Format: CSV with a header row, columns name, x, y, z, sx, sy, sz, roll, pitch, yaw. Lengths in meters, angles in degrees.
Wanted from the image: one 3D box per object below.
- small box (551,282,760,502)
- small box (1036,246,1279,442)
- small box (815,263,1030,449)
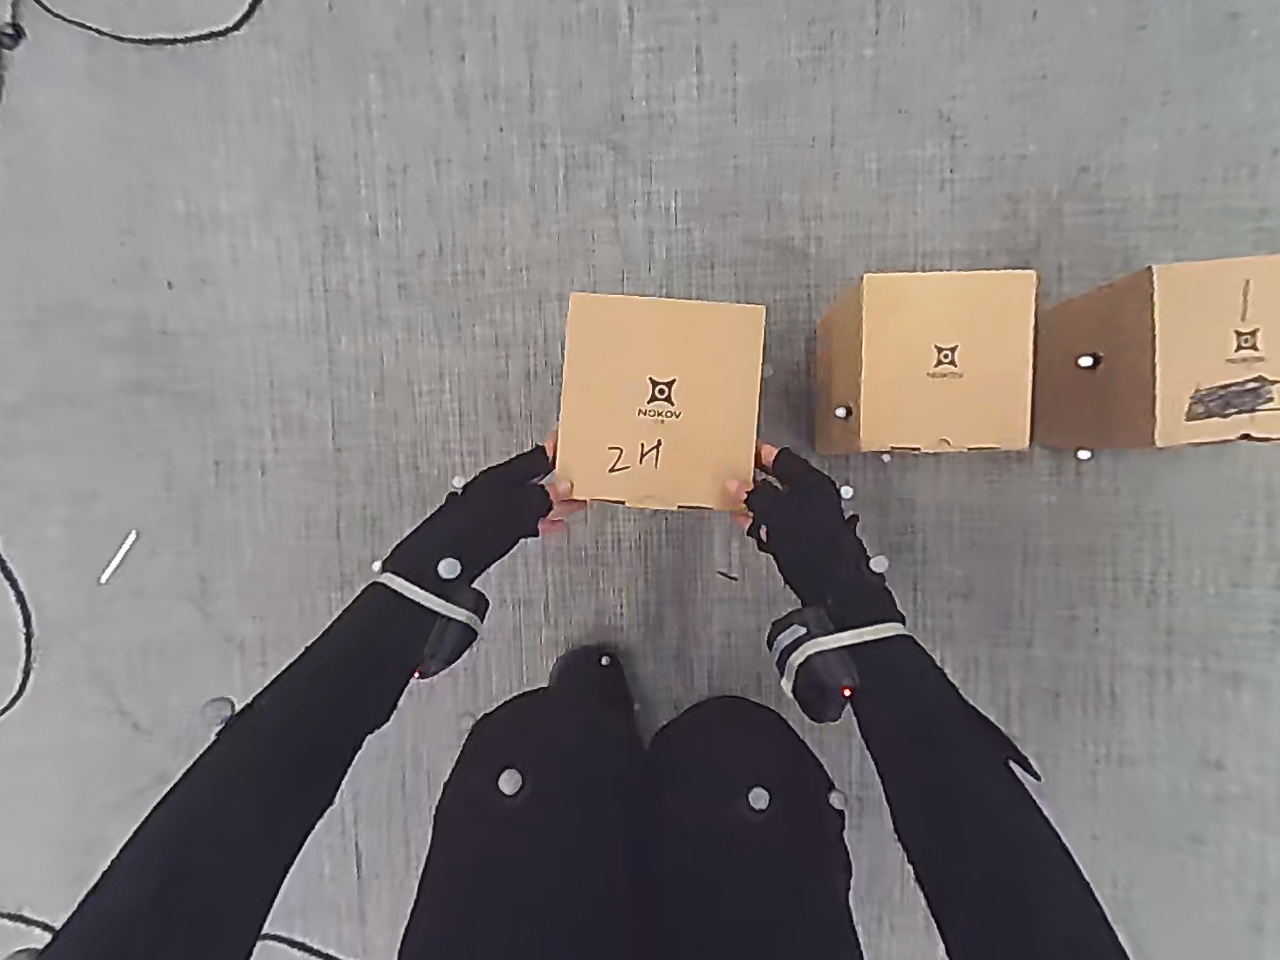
name,x,y,z,sx,sy,sz,roll,pitch,yaw
small box,0.014,-0.075,0.535,0.168,0.176,0.179,5,91,2
small box,0.566,-0.133,0.585,0.168,0.176,0.179,-3,92,5
small box,0.298,-0.125,0.607,0.168,0.176,0.179,0,93,5
